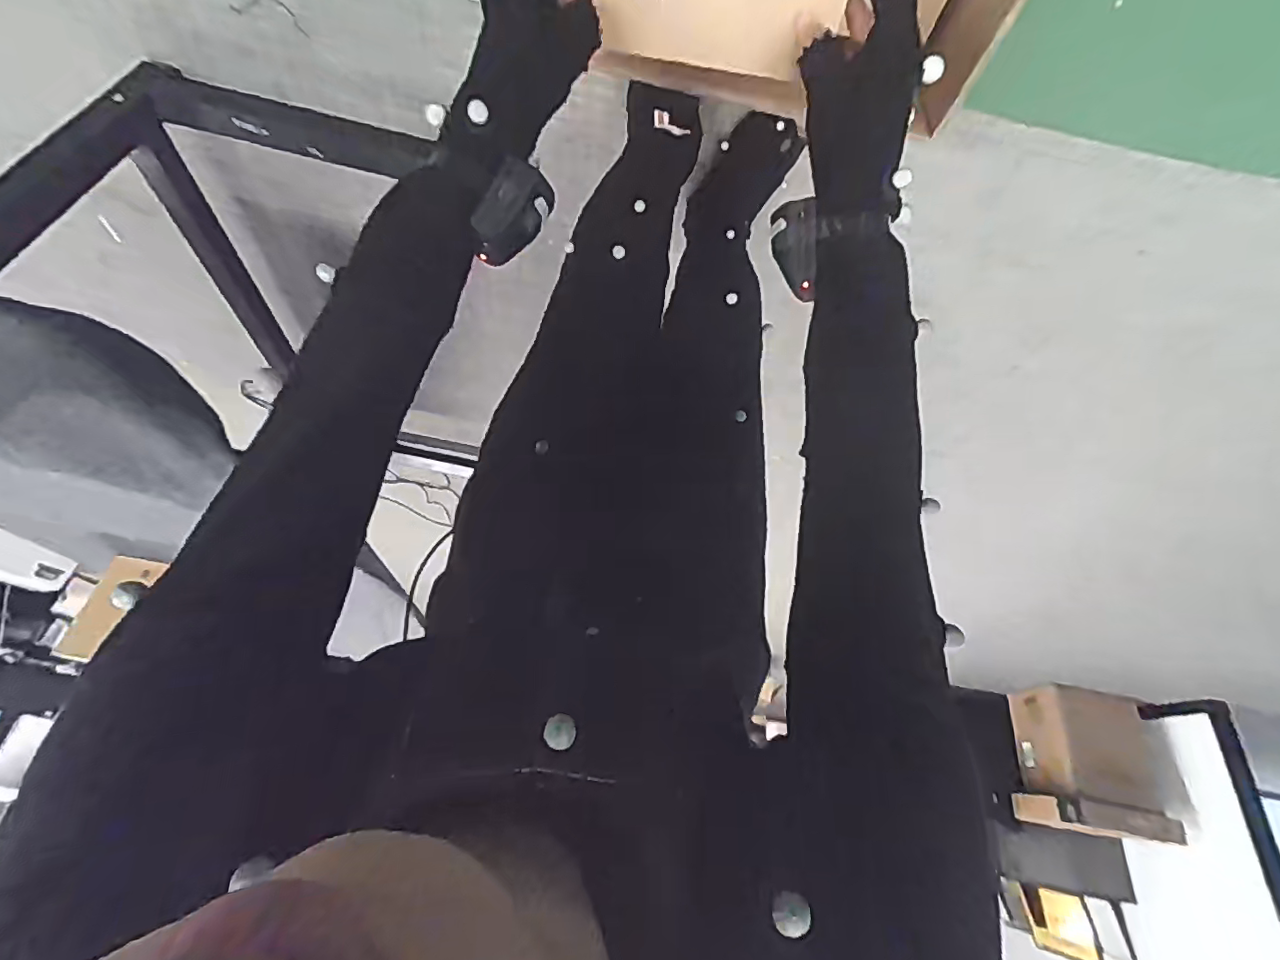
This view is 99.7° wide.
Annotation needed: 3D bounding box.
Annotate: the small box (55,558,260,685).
[{"bbox_3d":[-0.817,0.247,0.940,0.168,0.176,0.179,10,152,-1],"label":"small box"}]
